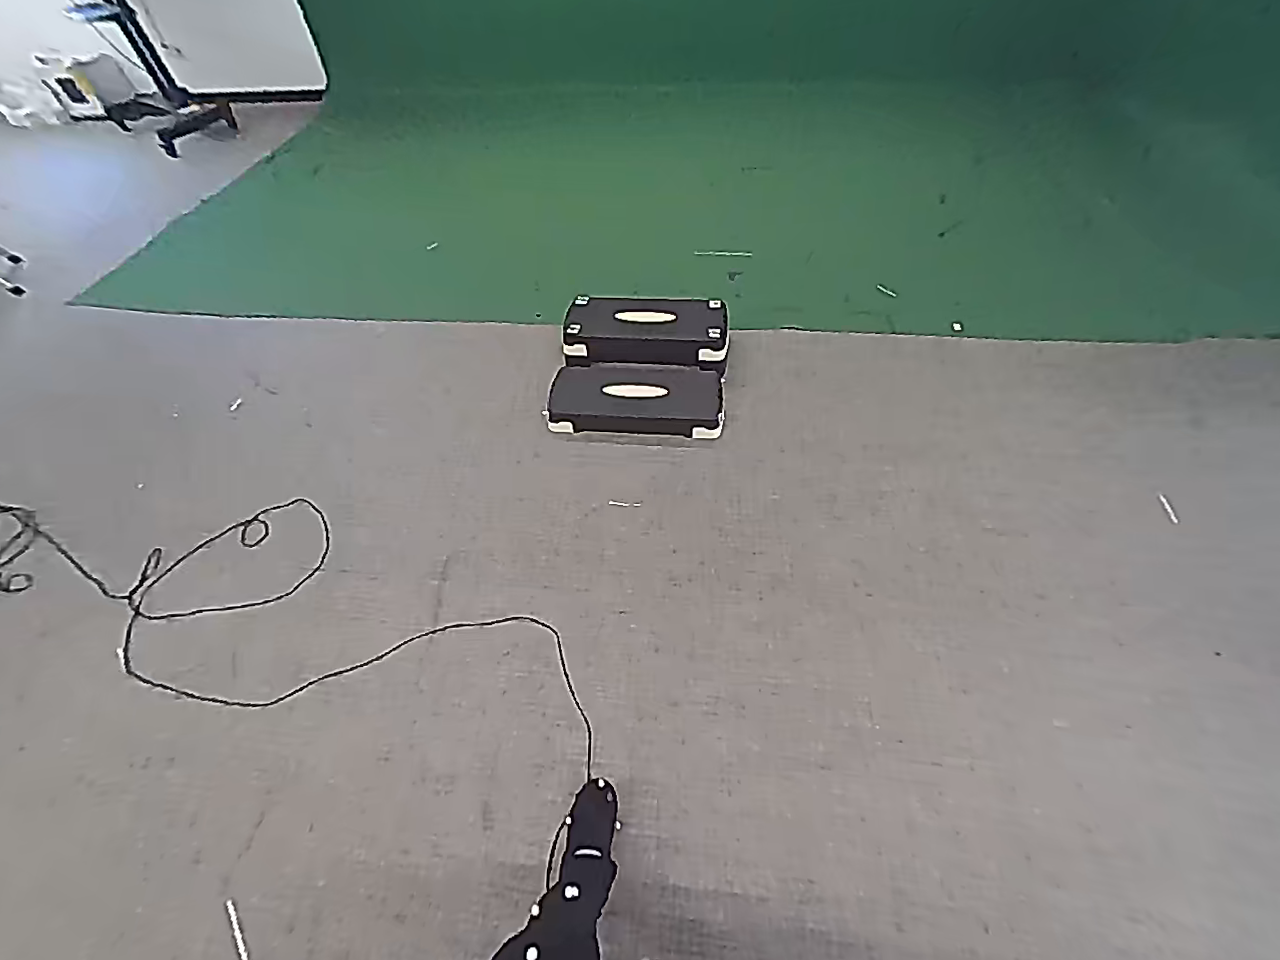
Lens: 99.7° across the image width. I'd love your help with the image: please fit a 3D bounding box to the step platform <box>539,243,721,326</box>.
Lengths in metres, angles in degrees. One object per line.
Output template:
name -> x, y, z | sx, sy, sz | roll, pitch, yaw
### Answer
step platform -> -0.033, -0.764, 2.118 | 0.684, 0.204, 0.286 | 3, 52, 6
